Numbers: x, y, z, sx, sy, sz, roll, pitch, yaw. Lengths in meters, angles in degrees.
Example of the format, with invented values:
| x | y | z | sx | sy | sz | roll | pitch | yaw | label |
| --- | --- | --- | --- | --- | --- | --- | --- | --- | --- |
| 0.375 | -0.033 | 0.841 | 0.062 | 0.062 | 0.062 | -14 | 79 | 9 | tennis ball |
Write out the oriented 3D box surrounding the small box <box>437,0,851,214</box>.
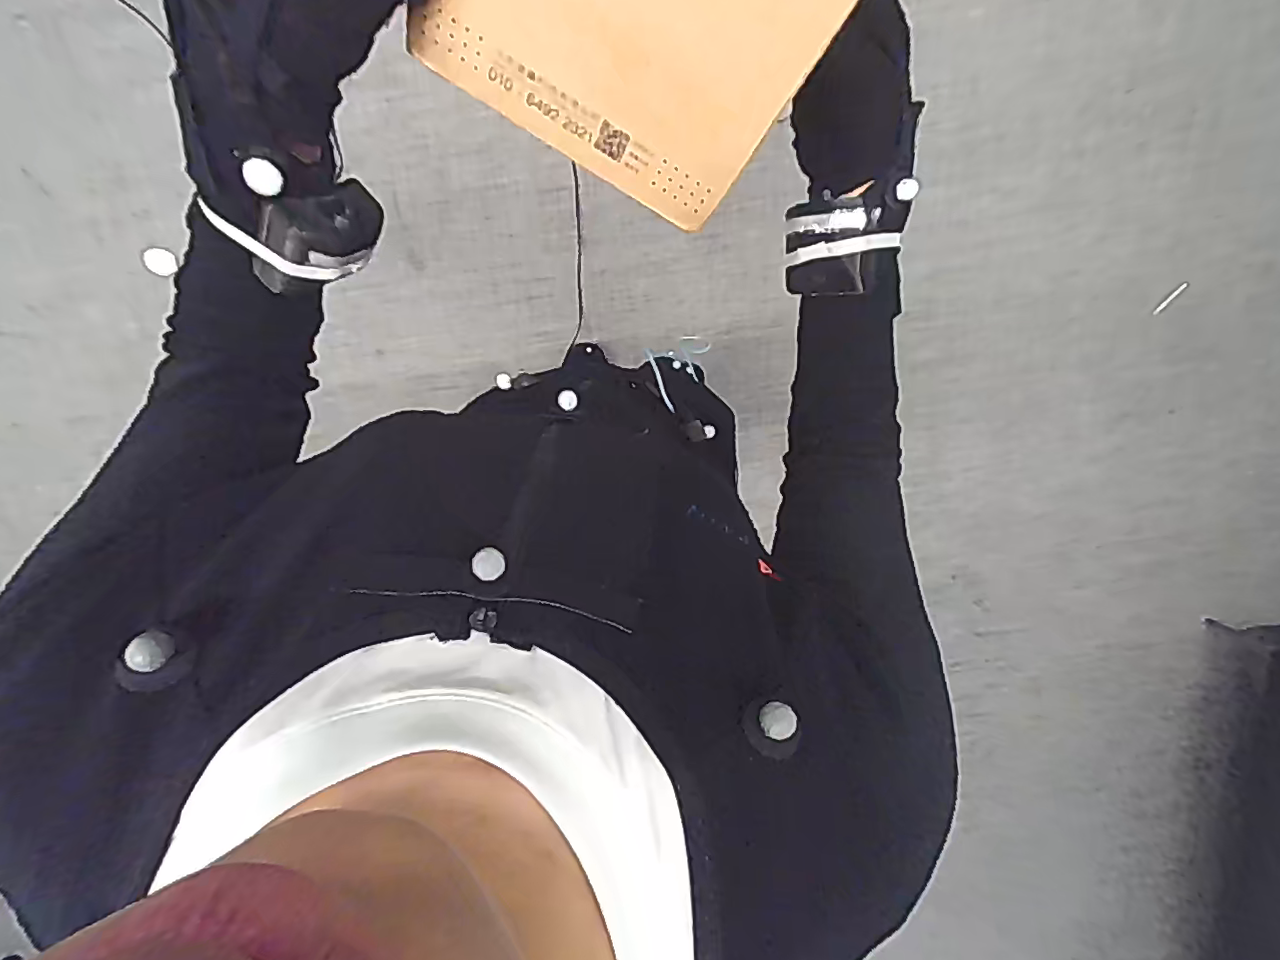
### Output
| x | y | z | sx | sy | sz | roll | pitch | yaw | label |
| --- | --- | --- | --- | --- | --- | --- | --- | --- | --- |
| 0.020 | -0.276 | 0.257 | 0.168 | 0.176 | 0.179 | 26 | 58 | -14 | small box |
